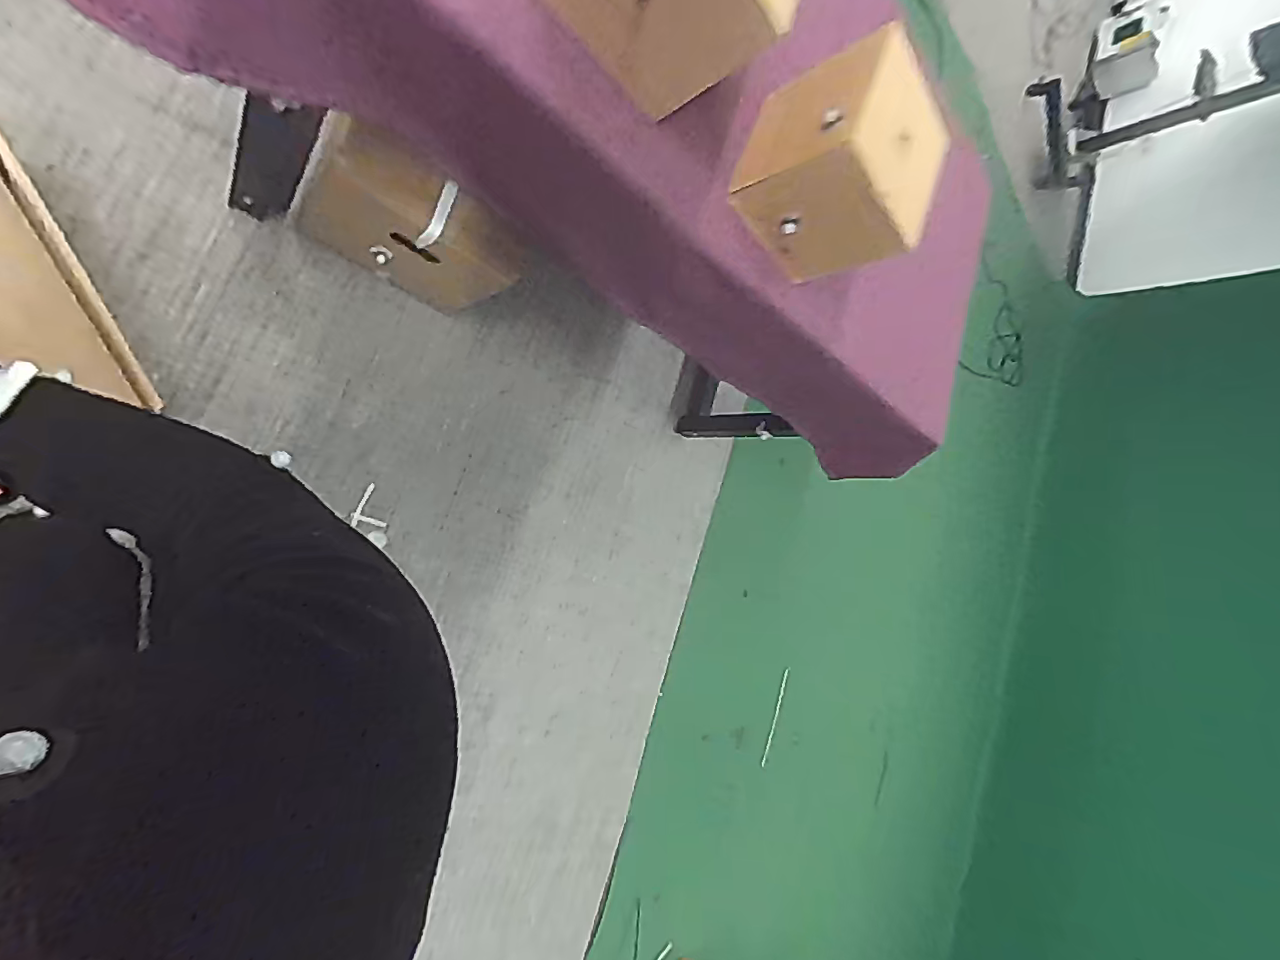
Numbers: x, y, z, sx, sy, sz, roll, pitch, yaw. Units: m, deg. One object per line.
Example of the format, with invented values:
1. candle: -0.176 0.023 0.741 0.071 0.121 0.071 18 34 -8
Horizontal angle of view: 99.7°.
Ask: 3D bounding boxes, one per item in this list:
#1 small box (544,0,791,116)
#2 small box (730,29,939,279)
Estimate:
1. small box: 0.028 -0.480 0.483 0.179 0.176 0.168 26 77 -38
2. small box: 0.238 -0.382 0.670 0.168 0.176 0.179 32 74 -37
